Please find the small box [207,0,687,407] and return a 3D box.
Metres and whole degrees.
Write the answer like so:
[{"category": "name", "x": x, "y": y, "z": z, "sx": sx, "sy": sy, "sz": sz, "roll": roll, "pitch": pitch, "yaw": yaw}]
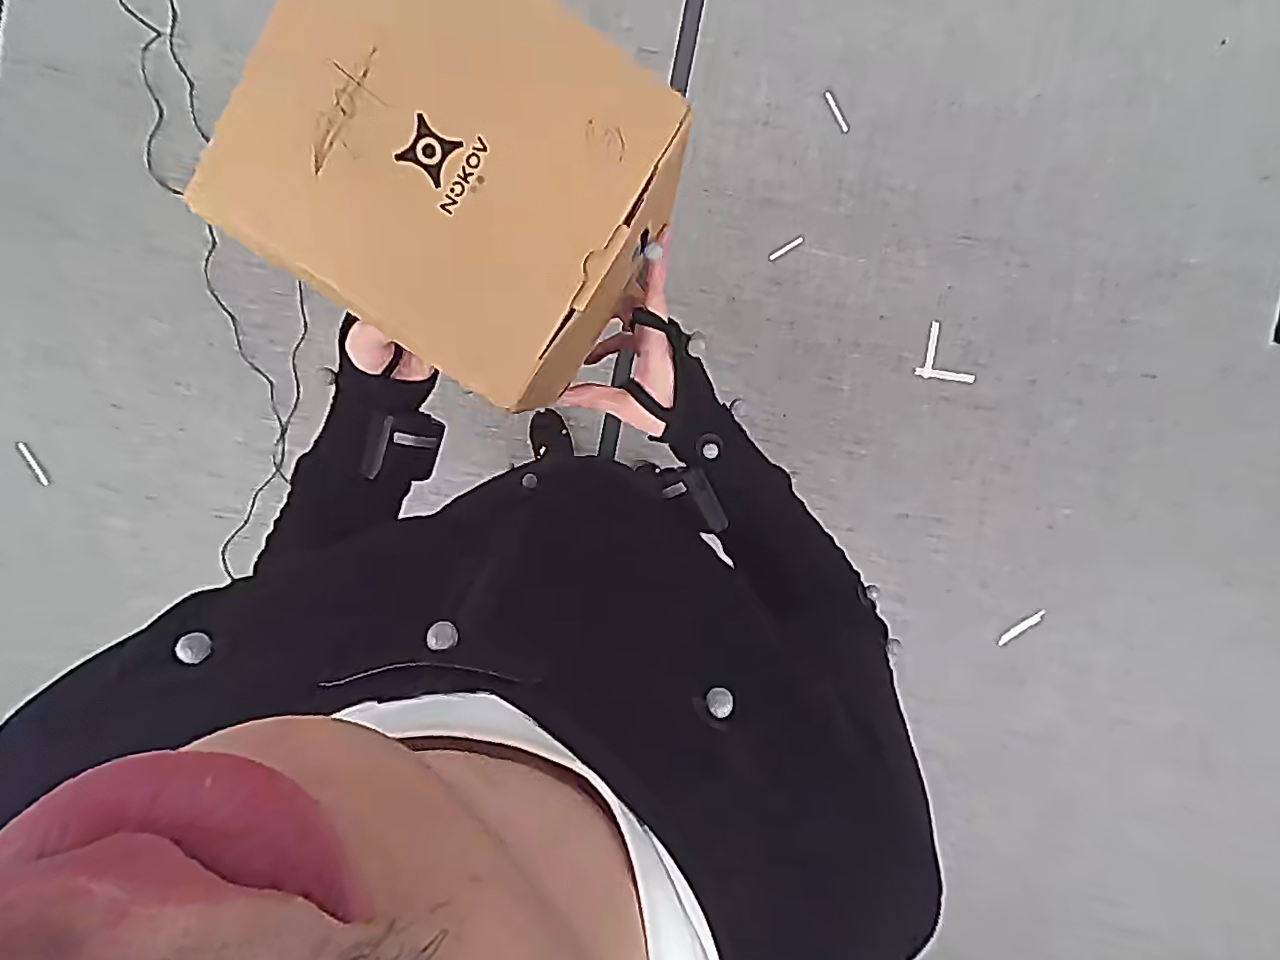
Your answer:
[{"category": "small box", "x": -0.093, "y": -0.163, "z": 0.334, "sx": 0.179, "sy": 0.176, "sz": 0.168, "roll": 32, "pitch": 98, "yaw": -6}]
